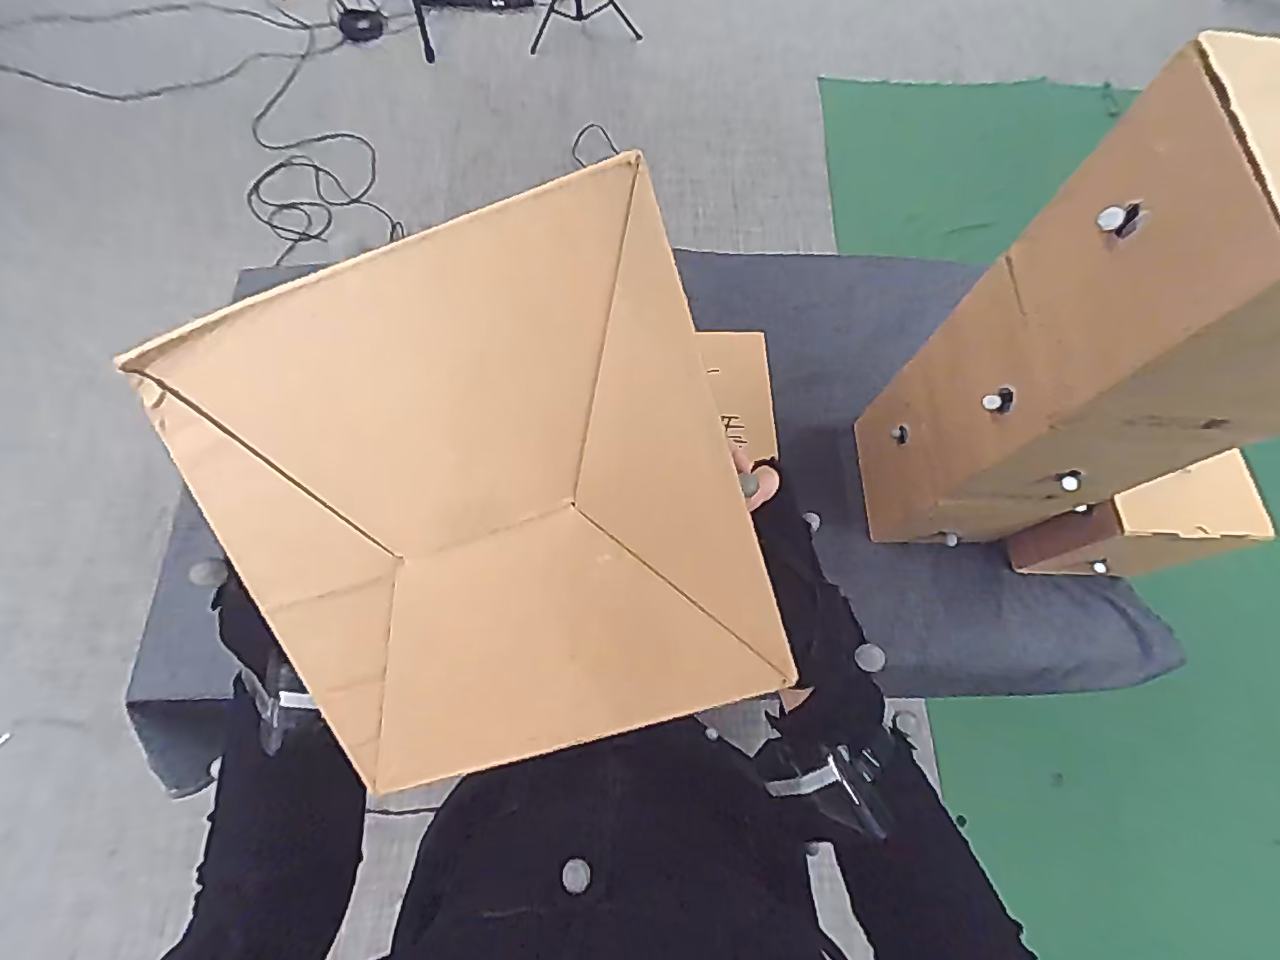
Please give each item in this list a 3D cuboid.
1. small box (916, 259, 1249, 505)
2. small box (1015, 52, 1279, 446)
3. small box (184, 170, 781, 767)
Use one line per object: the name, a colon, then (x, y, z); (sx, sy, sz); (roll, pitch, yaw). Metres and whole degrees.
small box: (0.394, -0.082, 0.520); (0.168, 0.176, 0.179); (2, 68, 0)
small box: (0.396, -0.142, 0.367); (0.168, 0.176, 0.179); (4, 68, 1)
small box: (-0.046, -0.007, 0.253); (0.168, 0.176, 0.179); (-18, 105, 5)
